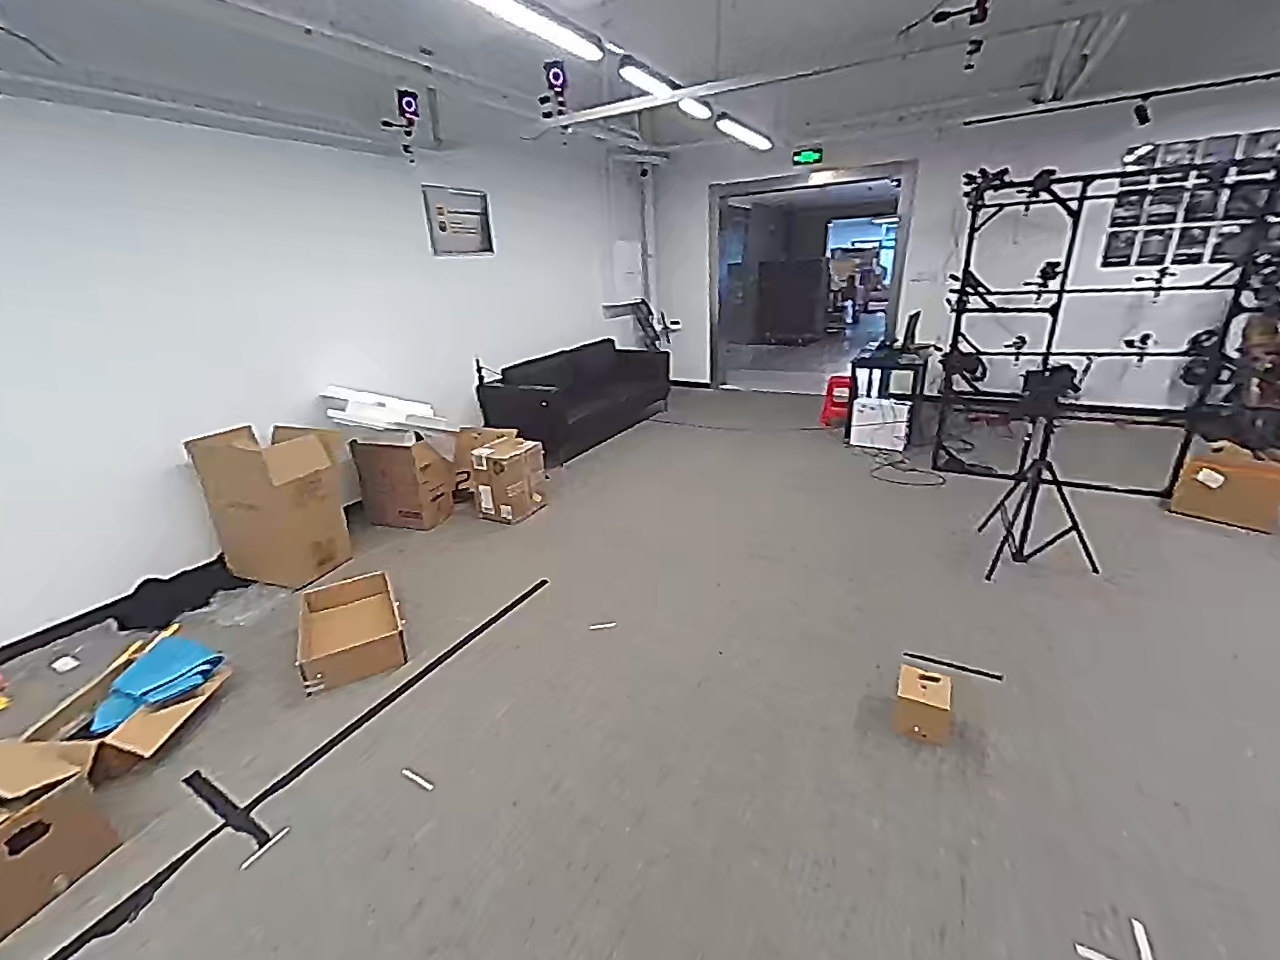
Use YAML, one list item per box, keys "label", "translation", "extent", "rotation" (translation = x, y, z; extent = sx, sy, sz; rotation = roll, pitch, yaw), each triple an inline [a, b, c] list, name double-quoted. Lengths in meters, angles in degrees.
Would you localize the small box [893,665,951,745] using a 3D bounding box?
- label: "small box"
  translation: [1.023, 0.814, 1.961]
  extent: [0.168, 0.176, 0.179]
  rotation: [8, 25, 28]
